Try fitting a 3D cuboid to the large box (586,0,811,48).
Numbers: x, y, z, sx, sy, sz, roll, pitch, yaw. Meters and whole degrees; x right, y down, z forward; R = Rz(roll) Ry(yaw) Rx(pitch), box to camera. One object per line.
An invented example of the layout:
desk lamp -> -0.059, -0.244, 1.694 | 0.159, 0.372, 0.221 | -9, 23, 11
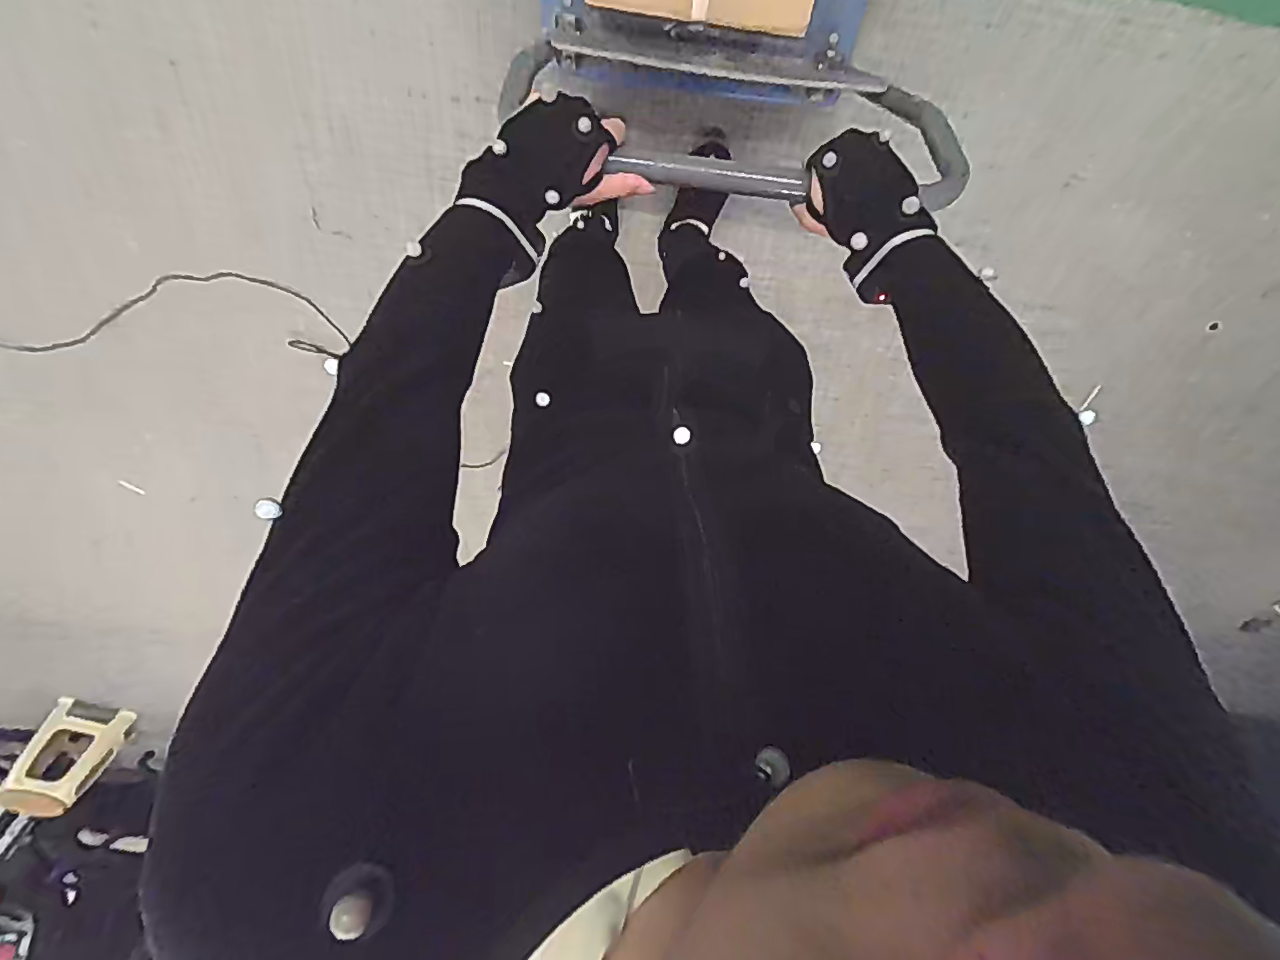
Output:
large box -> 0.098, -0.878, 0.758 | 0.320, 0.320, 0.408 | 5, 128, -4
